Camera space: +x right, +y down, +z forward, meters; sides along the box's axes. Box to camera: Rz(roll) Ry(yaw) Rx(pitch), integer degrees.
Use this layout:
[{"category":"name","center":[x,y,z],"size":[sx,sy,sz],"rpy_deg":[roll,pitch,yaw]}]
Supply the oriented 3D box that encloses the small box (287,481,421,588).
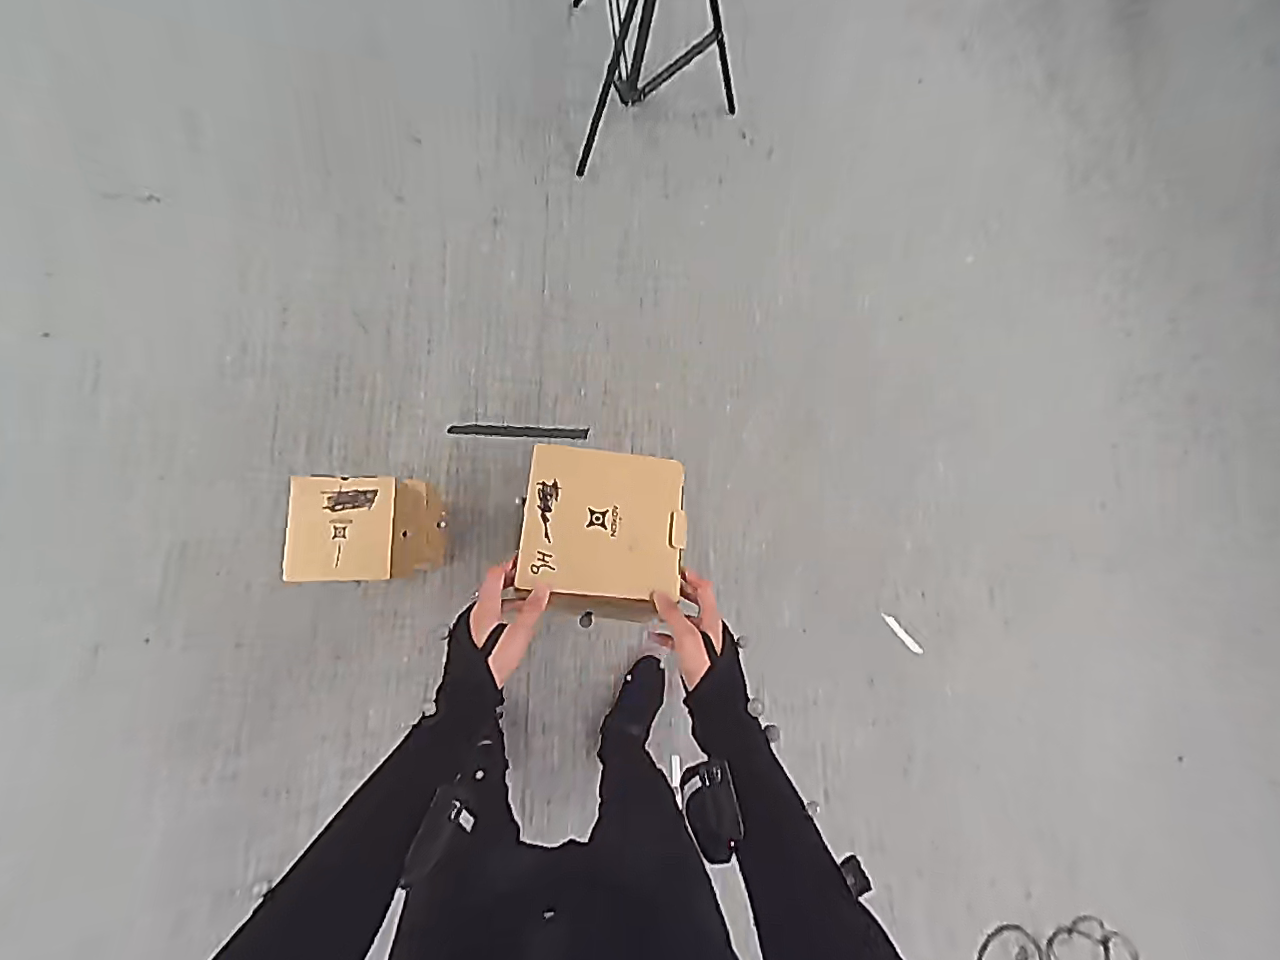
[{"category":"small box","center":[-0.499,0.103,0.971],"size":[0.168,0.176,0.179],"rpy_deg":[1,80,-9]}]

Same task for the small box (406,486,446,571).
[{"category":"small box","center":[-0.514,0.109,1.137],"size":[0.179,0.176,0.168],"rpy_deg":[-2,80,-11]}]

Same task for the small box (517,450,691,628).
[{"category":"small box","center":[-0.048,0.082,0.655],"size":[0.179,0.176,0.168],"rpy_deg":[8,67,-8]}]
